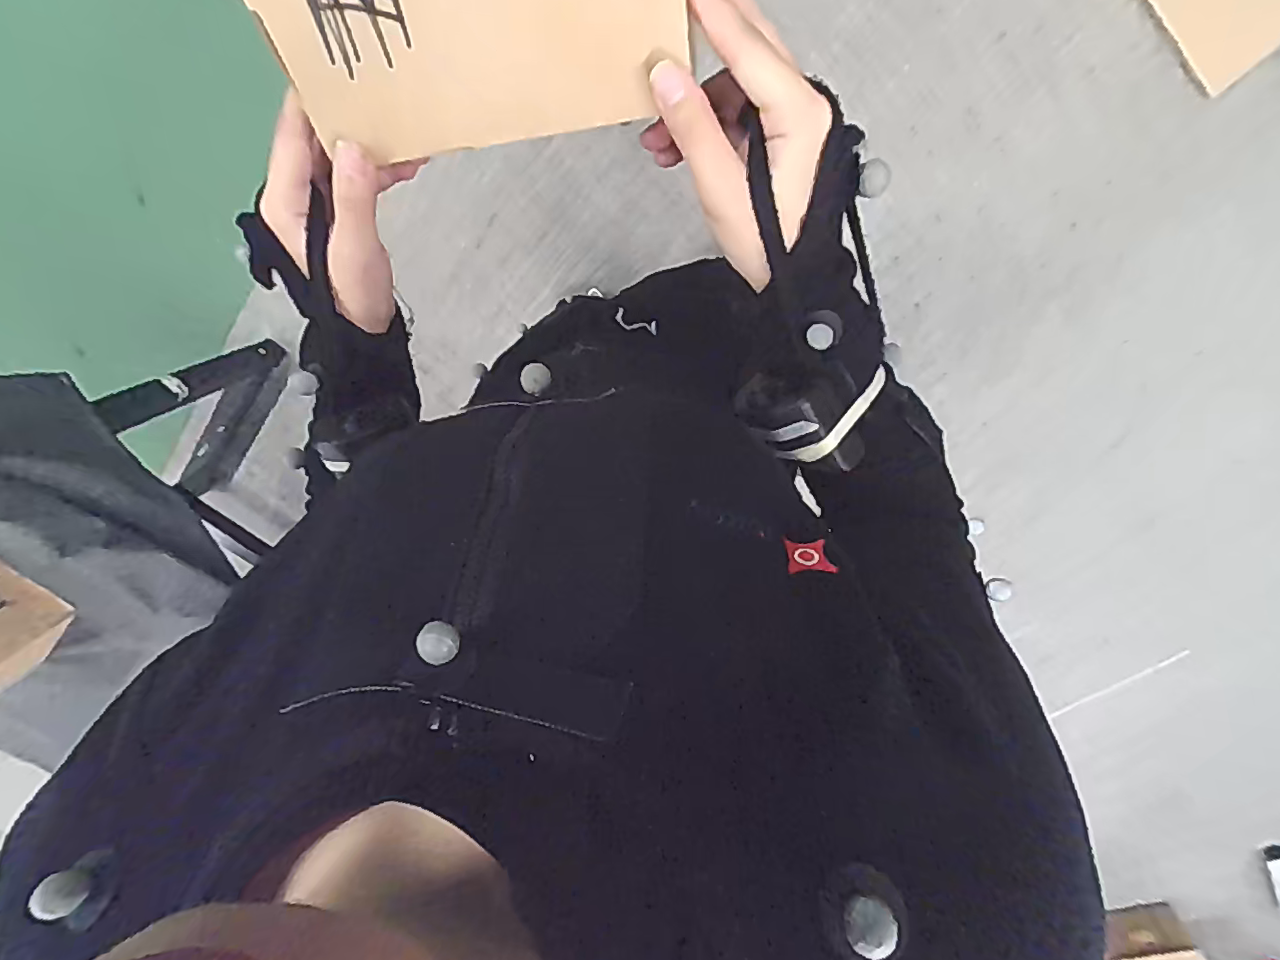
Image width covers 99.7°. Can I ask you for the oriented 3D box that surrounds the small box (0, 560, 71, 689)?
[{"bbox_3d":[-0.975,0.228,0.757,0.179,0.176,0.168,-38,108,22],"label":"small box"}]
